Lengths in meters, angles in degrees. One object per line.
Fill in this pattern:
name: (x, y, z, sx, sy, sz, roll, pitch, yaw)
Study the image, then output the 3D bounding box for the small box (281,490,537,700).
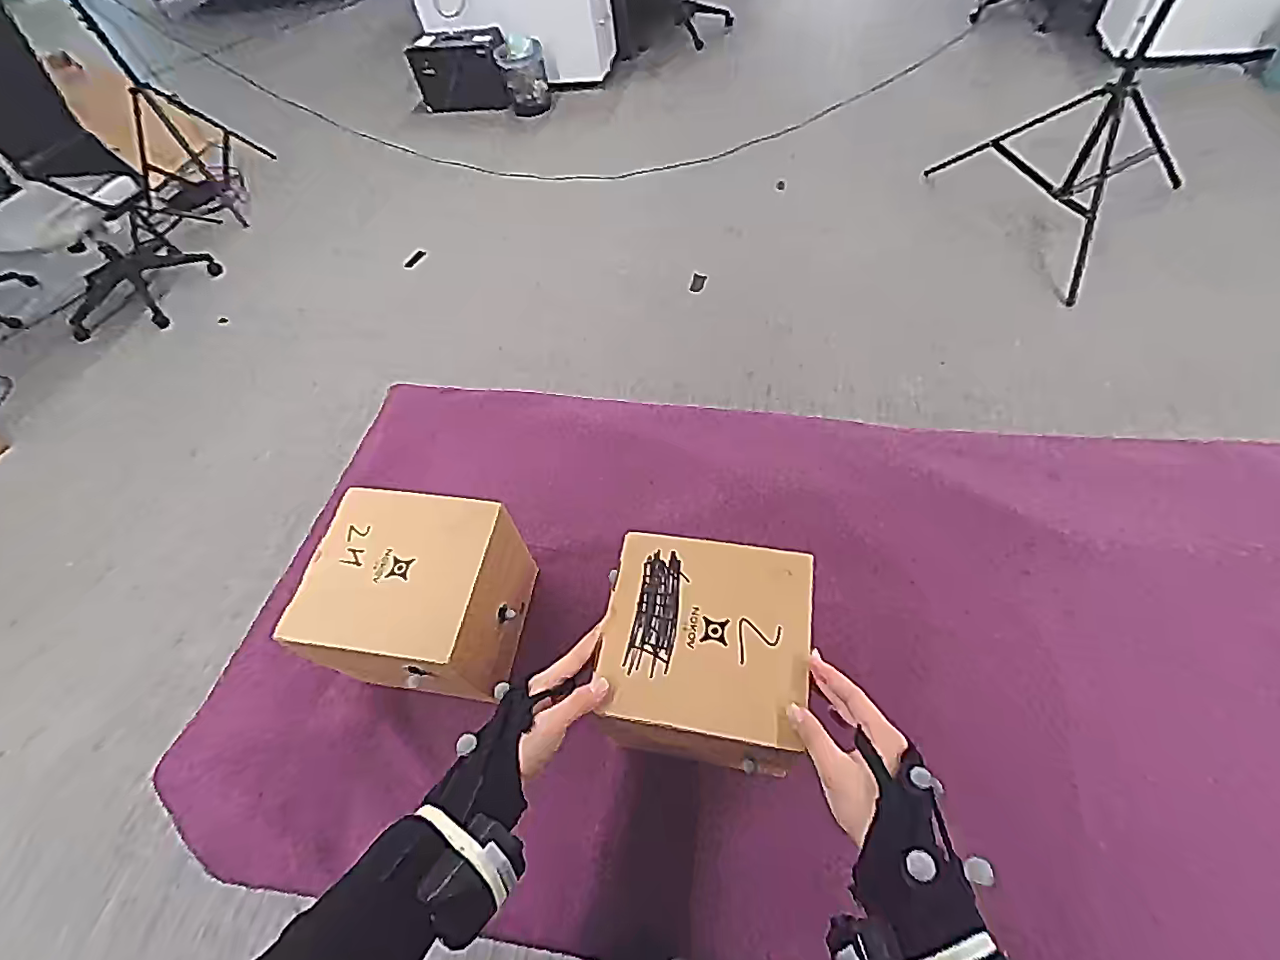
small box: (-0.228, 0.131, 0.593, 0.179, 0.176, 0.168, 6, 57, 9)
